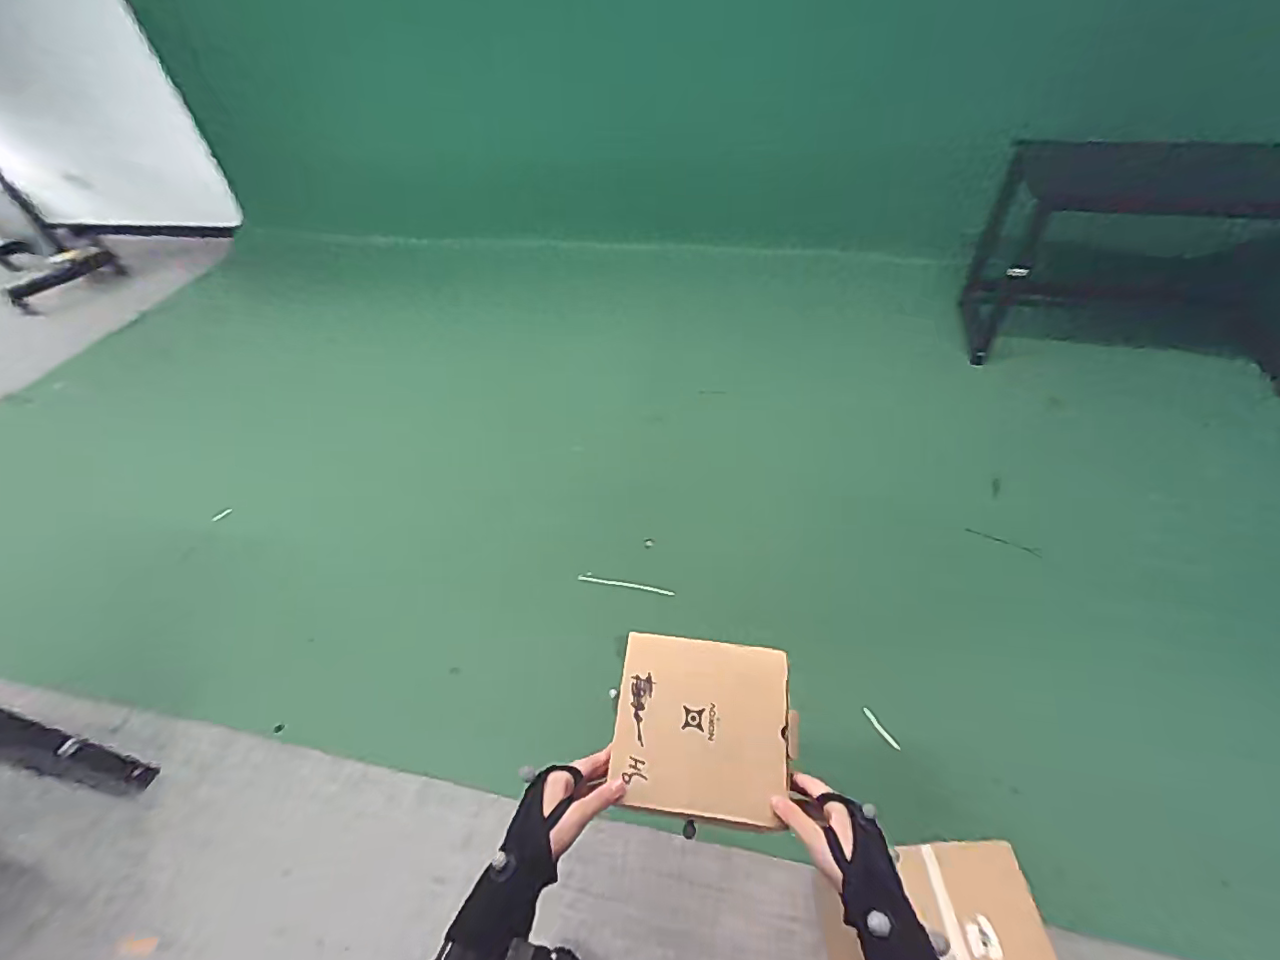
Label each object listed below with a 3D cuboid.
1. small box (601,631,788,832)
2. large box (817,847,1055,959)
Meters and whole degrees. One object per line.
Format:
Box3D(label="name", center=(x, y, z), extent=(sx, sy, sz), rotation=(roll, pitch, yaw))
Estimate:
Box3D(label="small box", center=(0.061, 0.288, 0.610), extent=(0.179, 0.176, 0.168), rotation=(6, 55, 6))
Box3D(label="large box", center=(0.536, 0.927, 0.957), extent=(0.320, 0.320, 0.408), rotation=(-3, 45, 1))
